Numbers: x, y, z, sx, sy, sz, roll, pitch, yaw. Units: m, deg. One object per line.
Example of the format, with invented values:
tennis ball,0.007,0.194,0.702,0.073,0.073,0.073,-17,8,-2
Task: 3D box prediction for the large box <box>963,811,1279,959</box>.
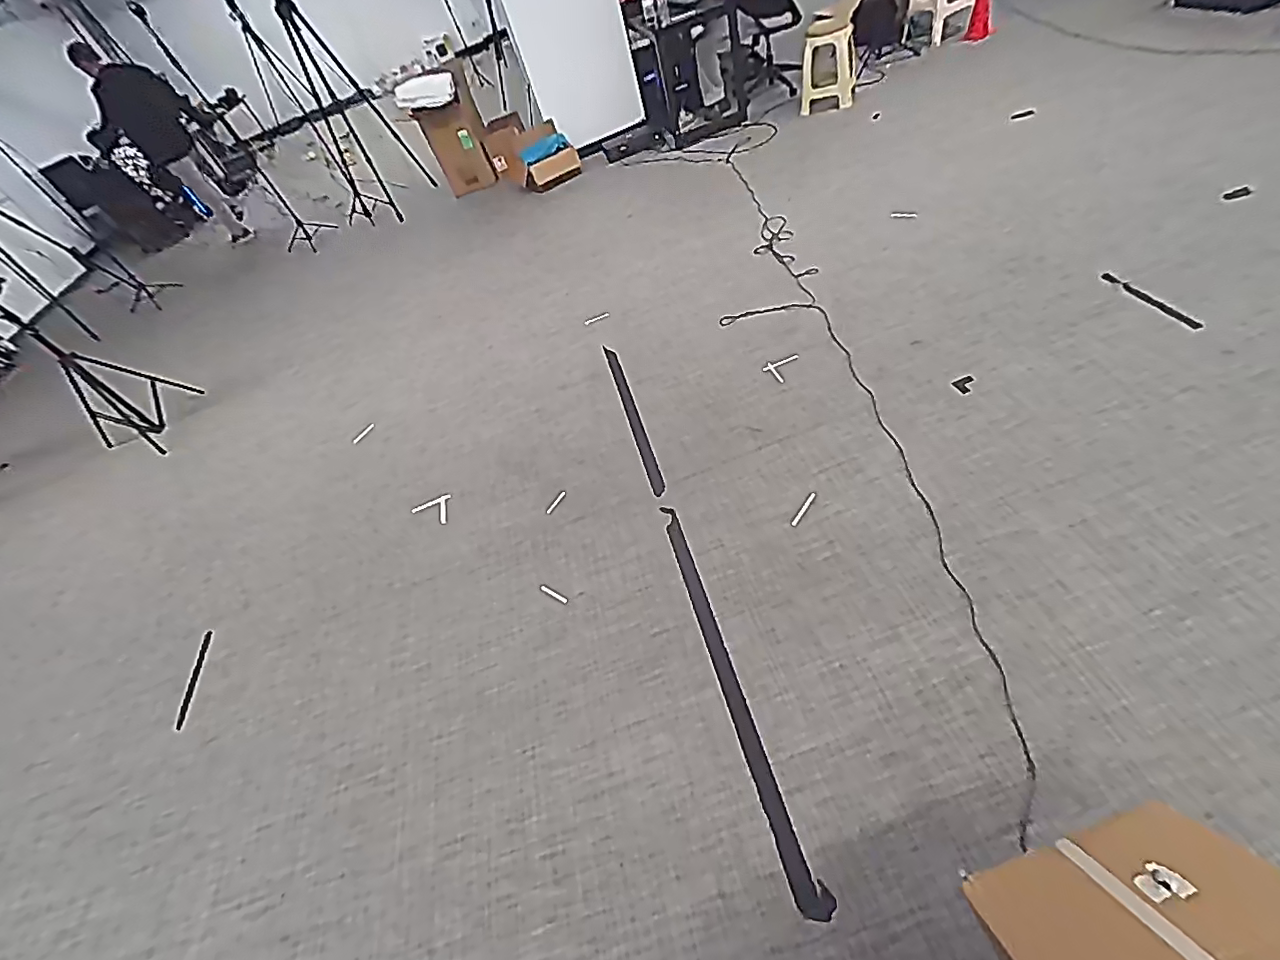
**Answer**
large box,0.651,0.647,0.567,0.320,0.408,0.320,-24,80,3
